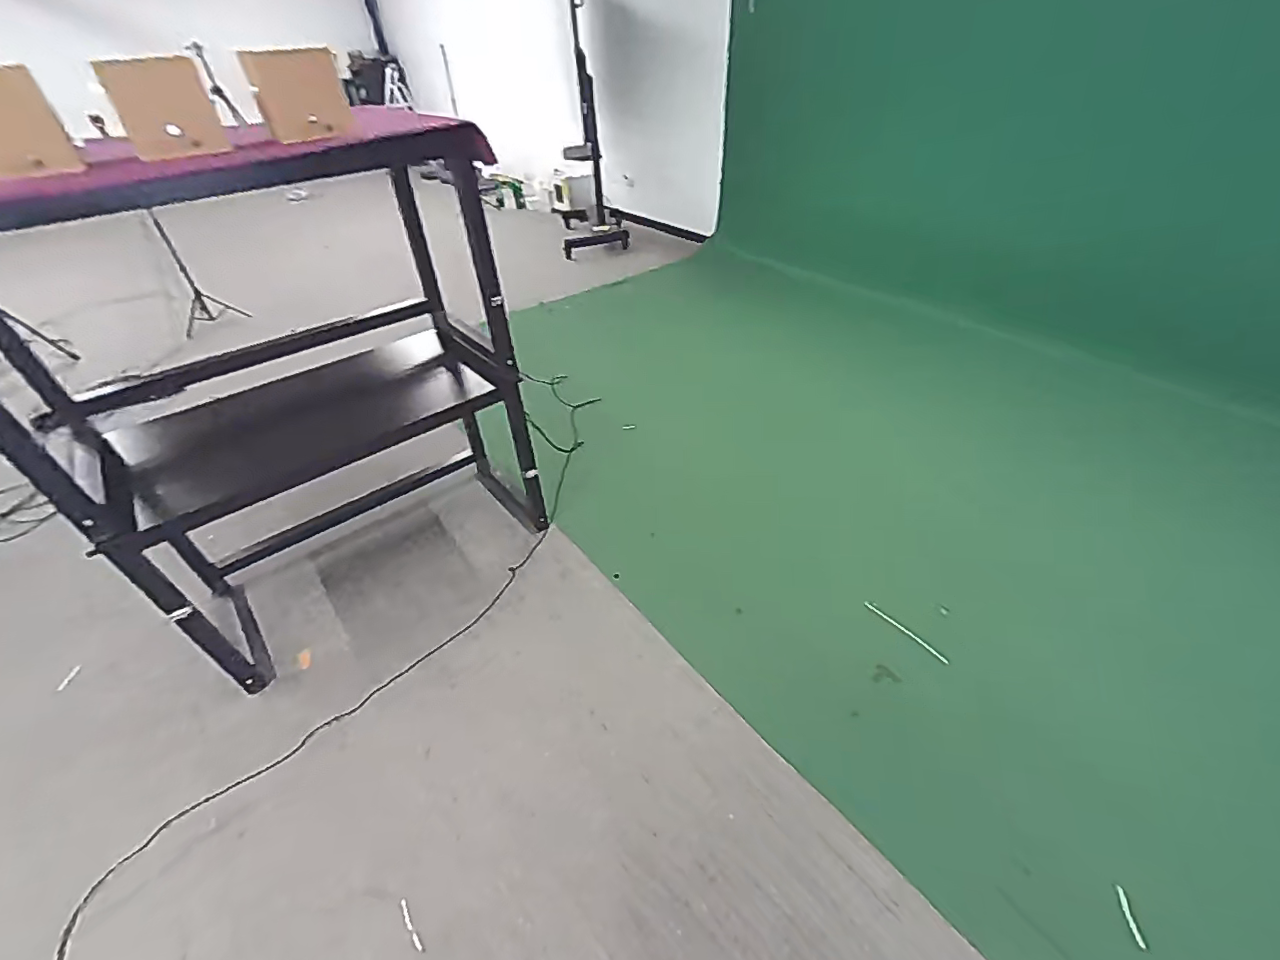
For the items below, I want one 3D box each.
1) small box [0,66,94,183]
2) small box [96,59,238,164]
[{"bbox_3d":[-1.178,-0.664,1.012,0.168,0.176,0.179,-29,45,-28],"label":"small box"},{"bbox_3d":[-0.983,-0.772,1.133,0.168,0.176,0.179,-28,46,-28],"label":"small box"}]
